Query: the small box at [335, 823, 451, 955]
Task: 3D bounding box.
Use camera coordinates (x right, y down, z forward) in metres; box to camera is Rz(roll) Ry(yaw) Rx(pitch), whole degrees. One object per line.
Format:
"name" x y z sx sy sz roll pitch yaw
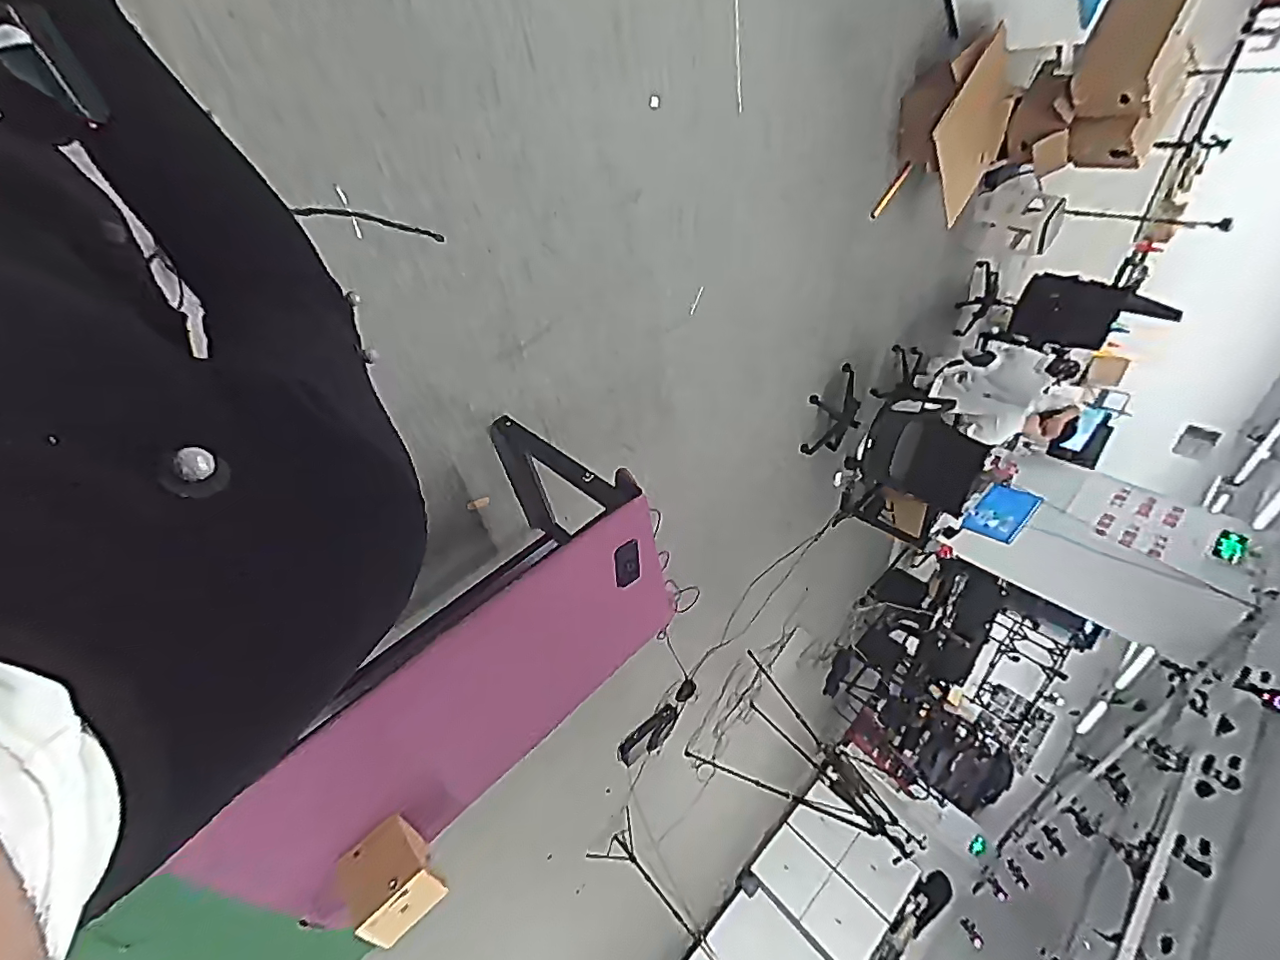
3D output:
"small box" -0.587 0.965 1.286 0.168 0.176 0.179 -35 136 -28
